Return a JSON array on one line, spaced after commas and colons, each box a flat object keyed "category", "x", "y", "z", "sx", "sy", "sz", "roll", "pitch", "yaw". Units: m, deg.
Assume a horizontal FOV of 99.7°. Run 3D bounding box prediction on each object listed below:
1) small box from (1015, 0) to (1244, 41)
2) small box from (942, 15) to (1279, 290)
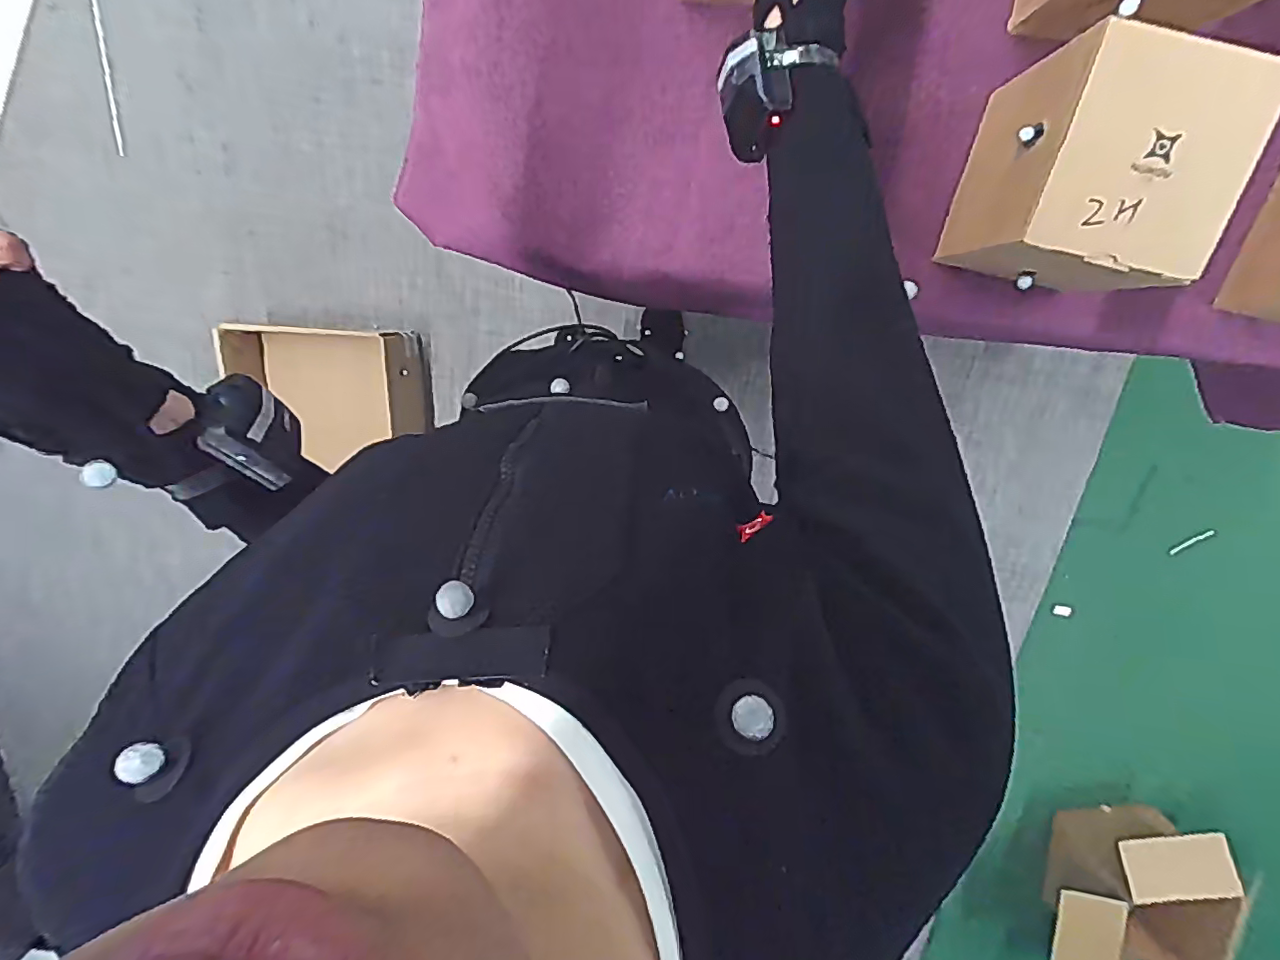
[{"category": "small box", "x": 0.472, "y": -0.514, "z": 0.469, "sx": 0.168, "sy": 0.176, "sz": 0.179, "roll": 7, "pitch": 107, "yaw": 0}, {"category": "small box", "x": 0.439, "y": -0.297, "z": 0.535, "sx": 0.168, "sy": 0.176, "sz": 0.179, "roll": 12, "pitch": 107, "yaw": -1}]
